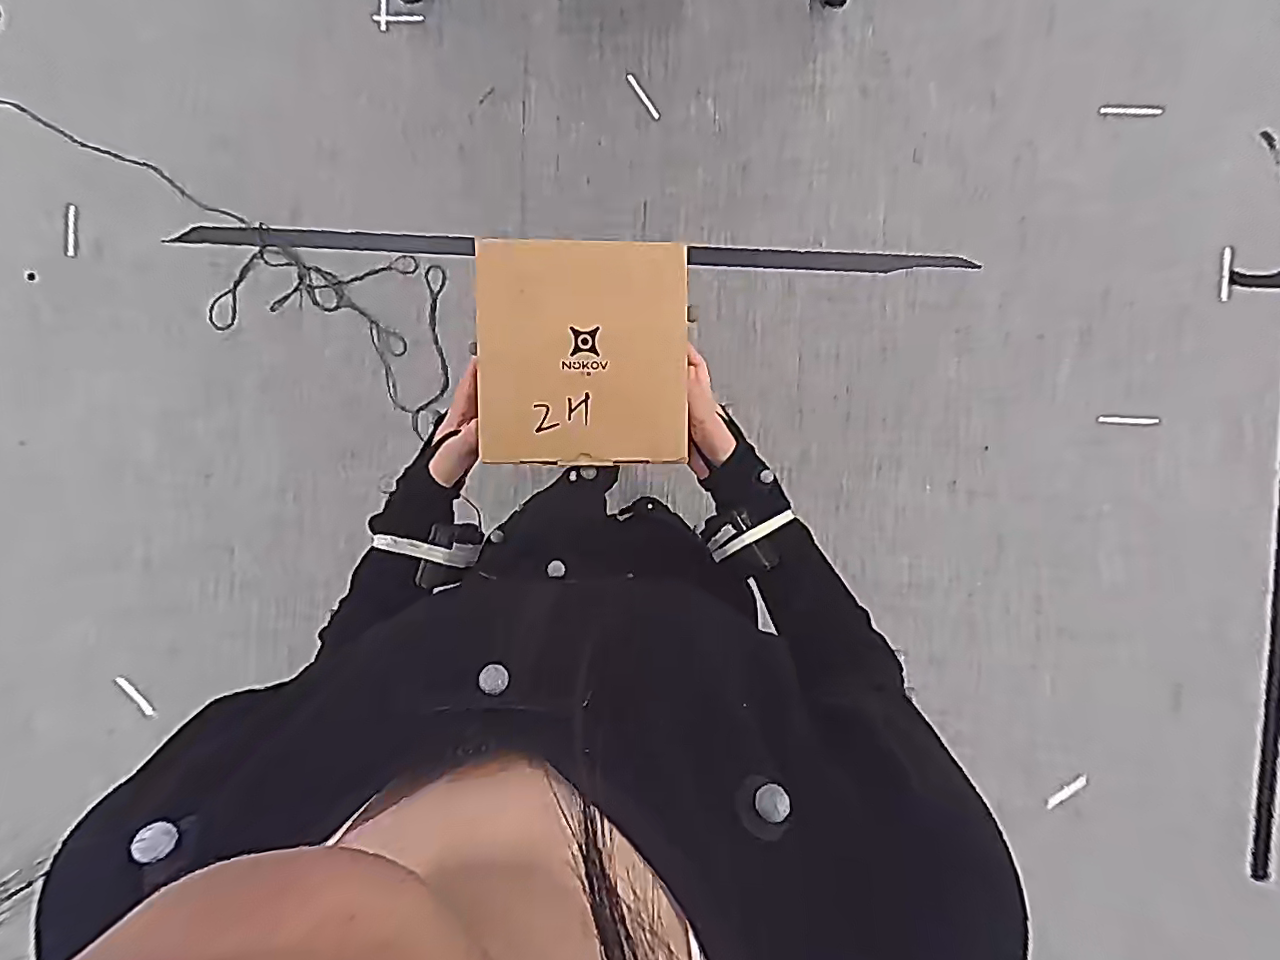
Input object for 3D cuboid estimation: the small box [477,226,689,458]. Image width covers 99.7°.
[{"bbox_3d":[-0.049,-0.109,0.499,0.168,0.176,0.179,0,92,-3],"label":"small box"}]
